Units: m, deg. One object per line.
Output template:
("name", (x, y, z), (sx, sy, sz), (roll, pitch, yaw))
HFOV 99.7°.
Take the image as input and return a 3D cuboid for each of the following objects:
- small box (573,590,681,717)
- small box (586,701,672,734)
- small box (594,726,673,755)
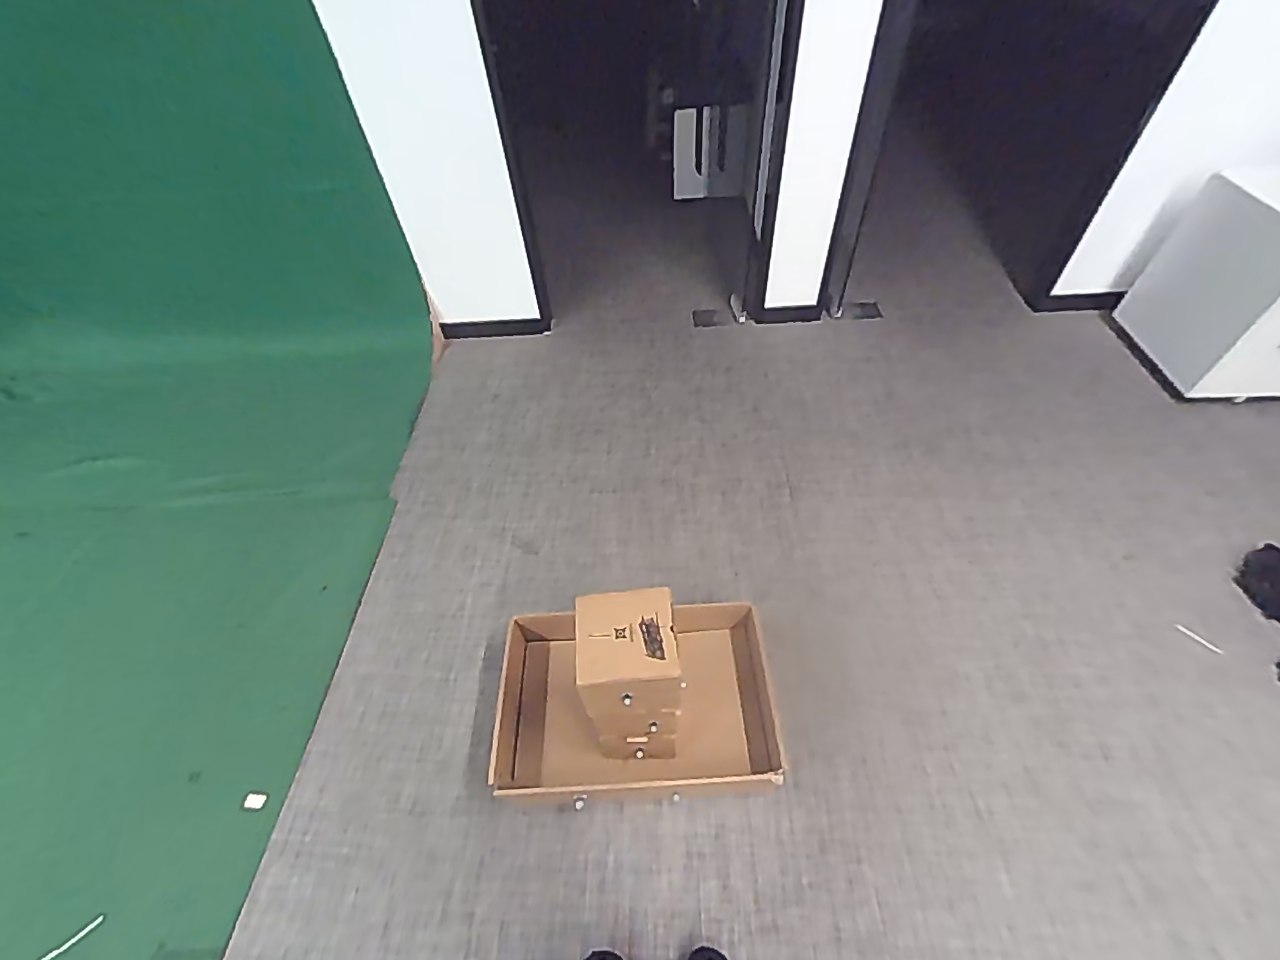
("small box", (-0.026, 0.324, 1.005), (0.179, 0.176, 0.168), (-7, 50, -4))
("small box", (-0.018, 0.423, 1.136), (0.168, 0.176, 0.179), (-2, 49, 2))
("small box", (-0.009, 0.529, 1.258), (0.168, 0.176, 0.179), (-2, 50, 3))
